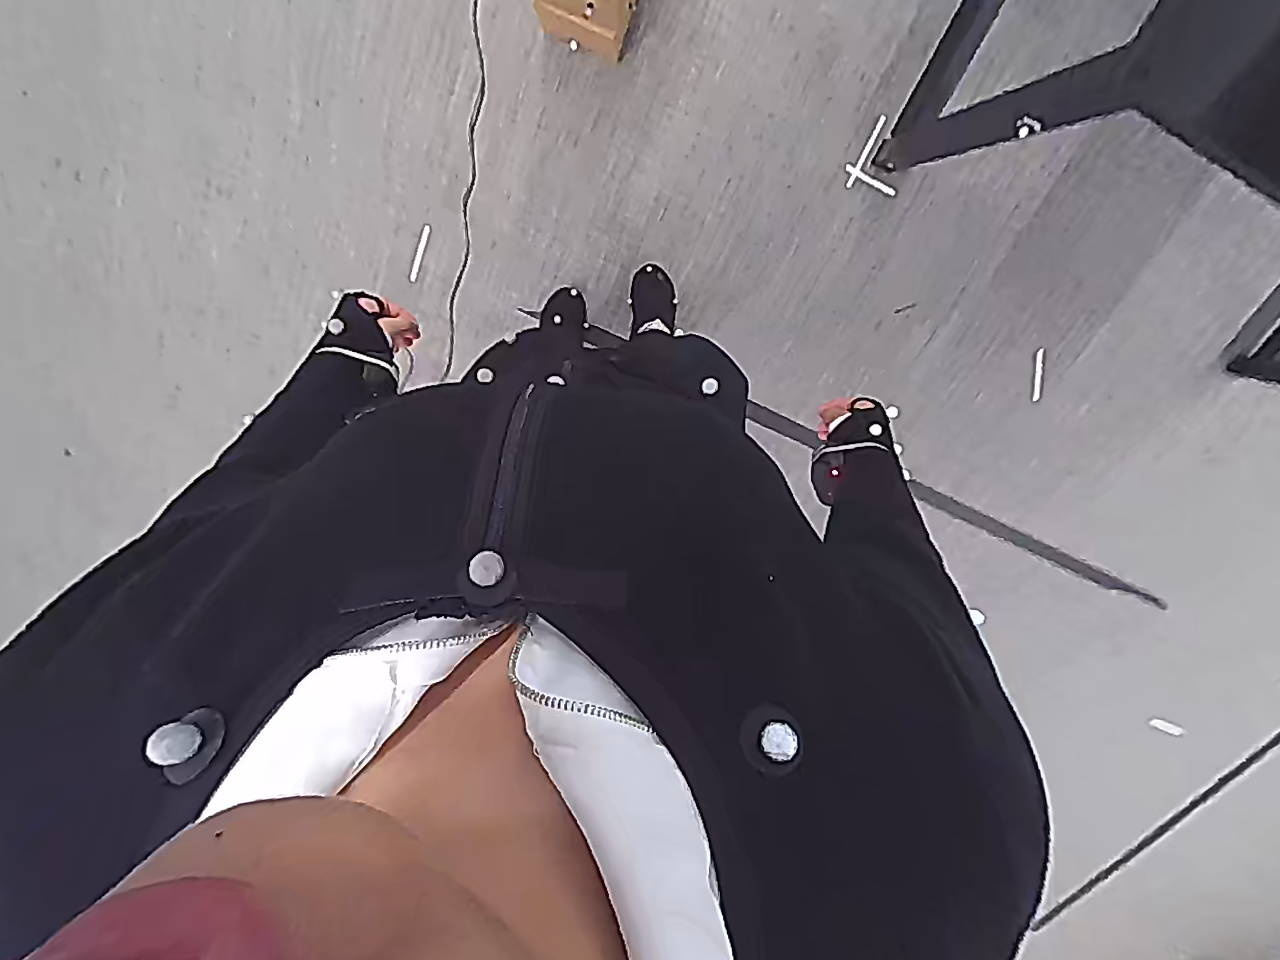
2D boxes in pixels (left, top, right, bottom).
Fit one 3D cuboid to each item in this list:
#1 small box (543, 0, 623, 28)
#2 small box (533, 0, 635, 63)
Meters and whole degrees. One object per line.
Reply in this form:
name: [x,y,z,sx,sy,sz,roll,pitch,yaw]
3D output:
small box: [-0.097,-0.909,0.904,0.168,0.176,0.179,15,111,-9]
small box: [-0.099,-0.967,1.055,0.168,0.176,0.179,19,113,-9]
